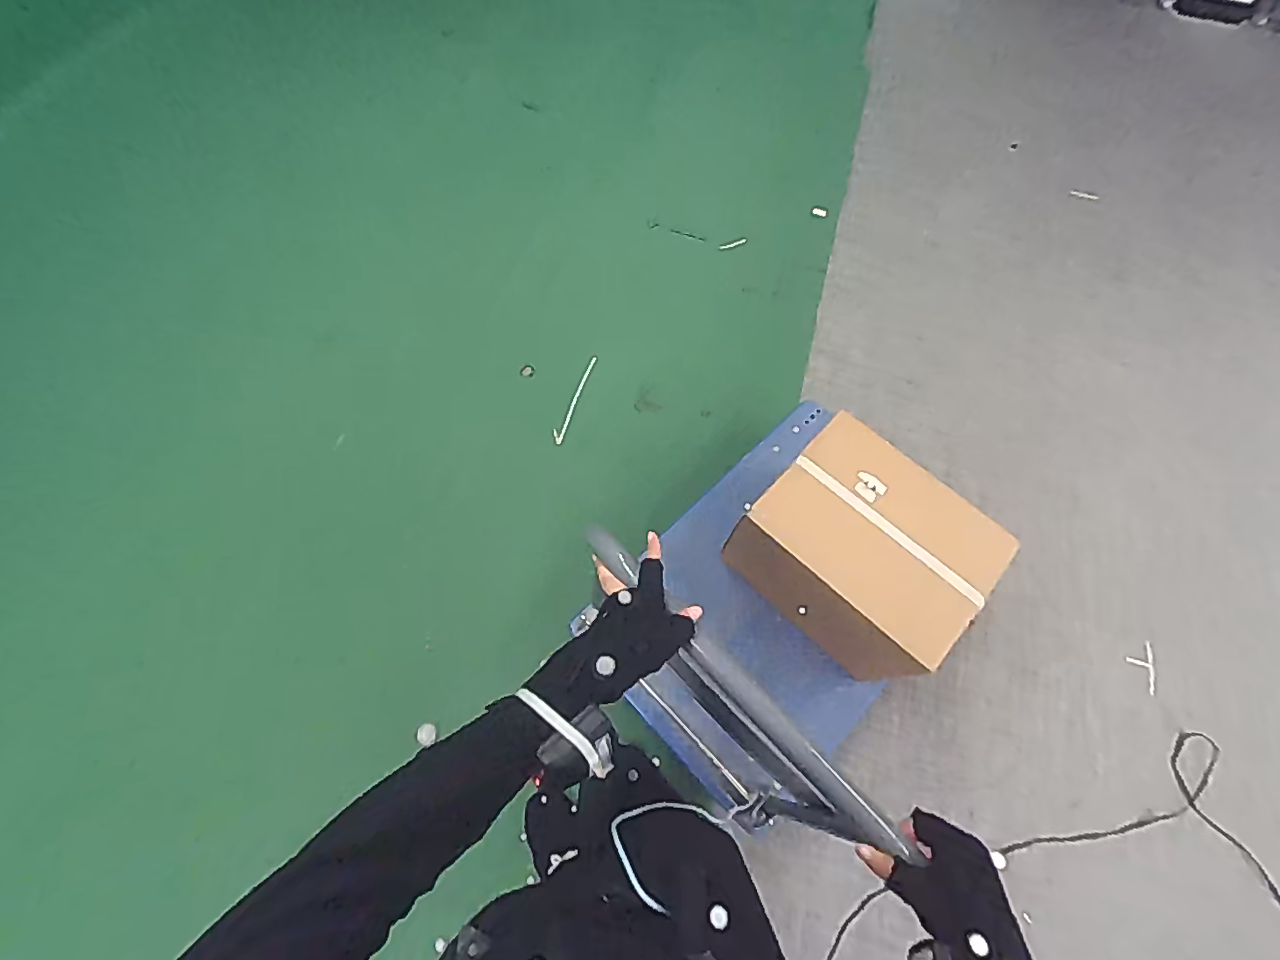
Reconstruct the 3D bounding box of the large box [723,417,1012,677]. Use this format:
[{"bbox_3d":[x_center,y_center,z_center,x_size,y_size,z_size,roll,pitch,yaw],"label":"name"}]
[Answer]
[{"bbox_3d":[0.440,0.152,1.138,0.408,0.320,0.320,42,71,16],"label":"large box"}]
